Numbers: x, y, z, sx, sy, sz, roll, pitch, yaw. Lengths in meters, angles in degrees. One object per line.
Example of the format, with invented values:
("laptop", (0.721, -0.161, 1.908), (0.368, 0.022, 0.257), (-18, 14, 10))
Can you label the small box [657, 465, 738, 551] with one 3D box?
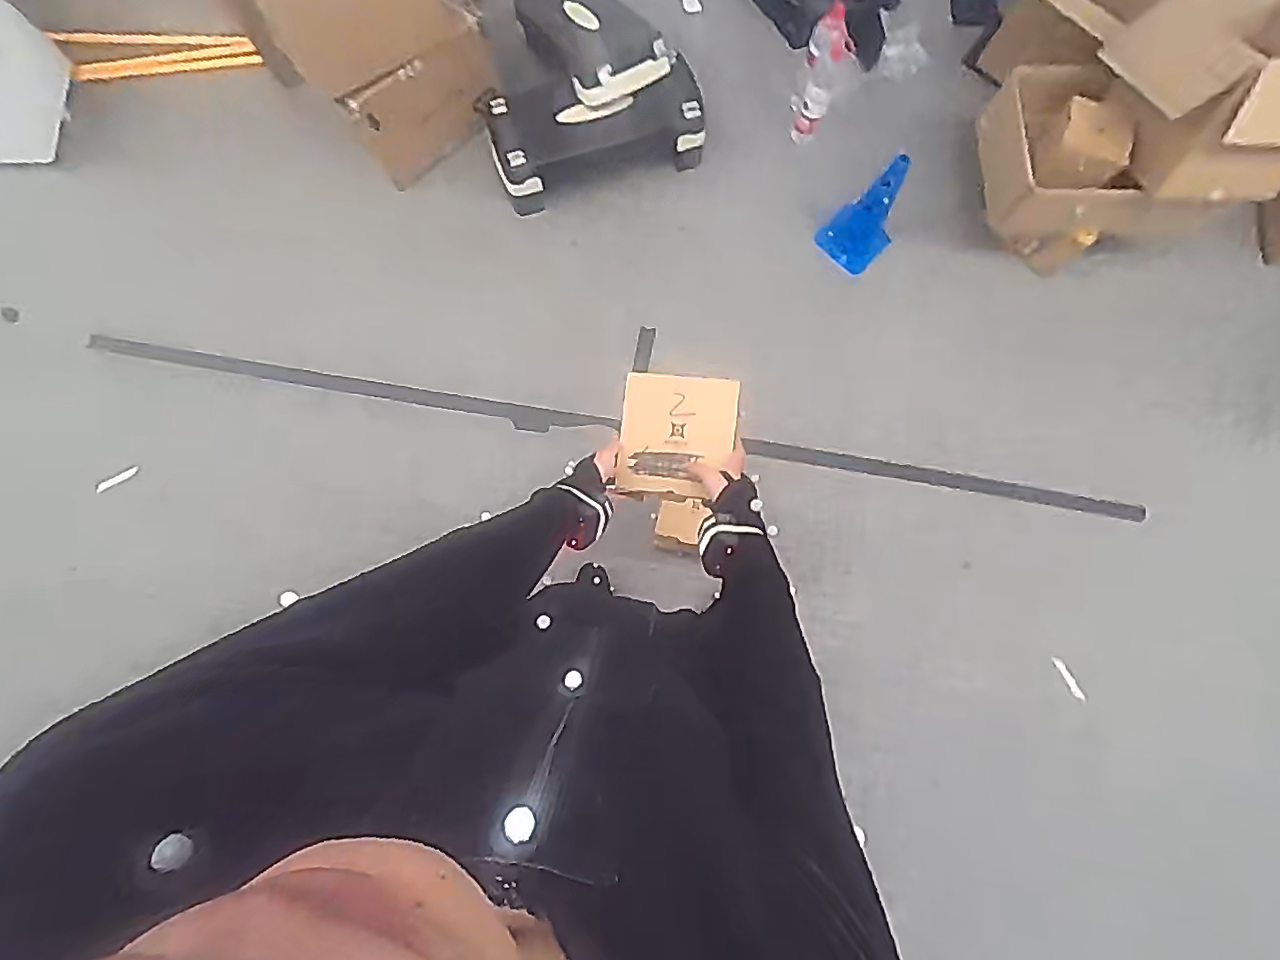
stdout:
("small box", (0.142, 0.078, 1.399), (0.168, 0.176, 0.179), (14, 81, 2))

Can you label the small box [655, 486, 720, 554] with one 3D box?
("small box", (0.144, 0.119, 1.557), (0.179, 0.176, 0.168), (10, 80, 2))
